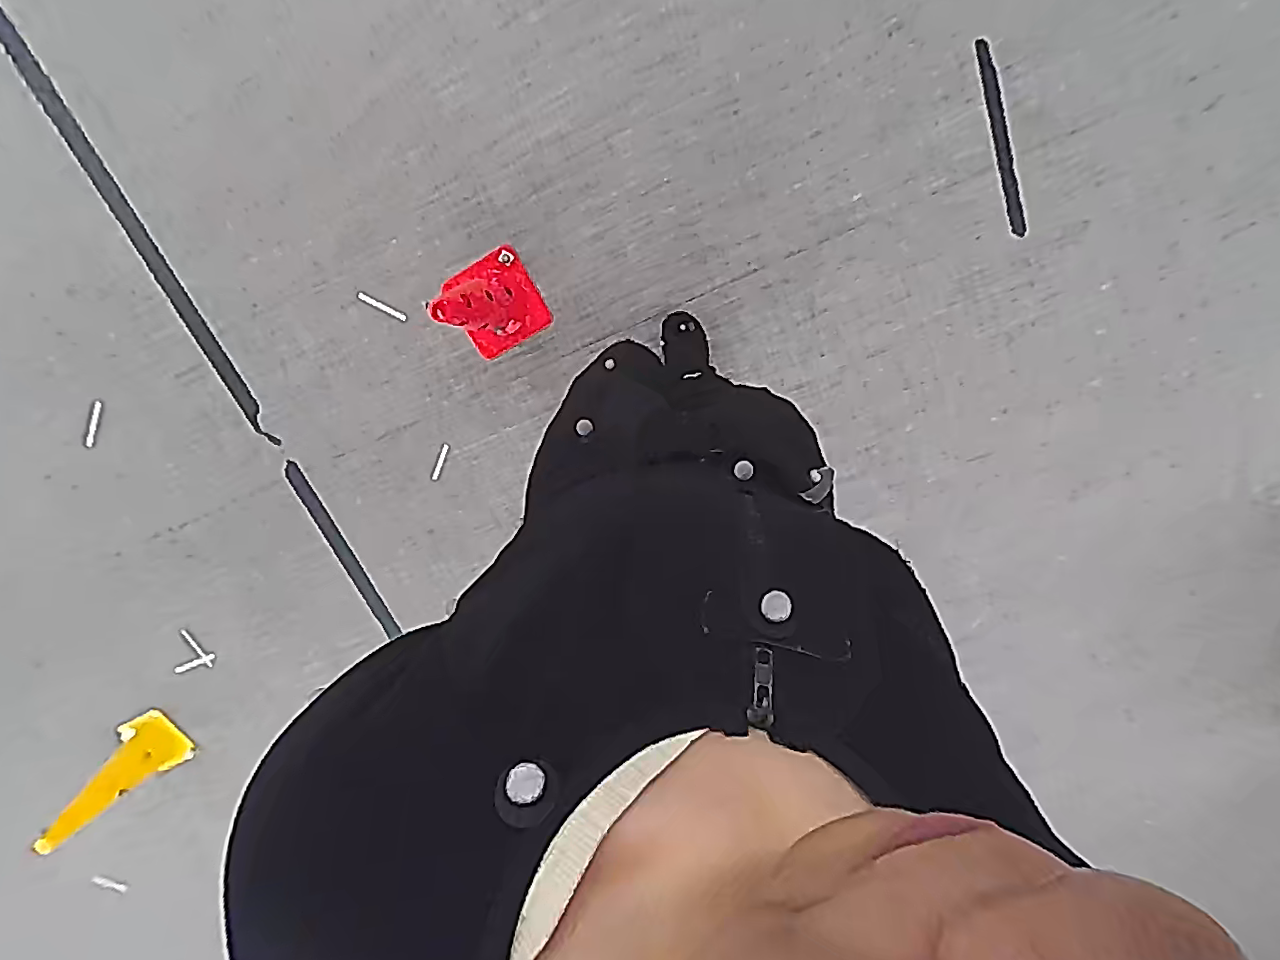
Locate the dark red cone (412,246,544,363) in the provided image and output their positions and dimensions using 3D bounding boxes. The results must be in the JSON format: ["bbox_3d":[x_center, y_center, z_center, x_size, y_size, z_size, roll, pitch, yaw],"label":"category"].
[{"bbox_3d":[-0.348,-0.337,1.069,0.201,0.394,0.202,-28,106,12],"label":"dark red cone"}]
